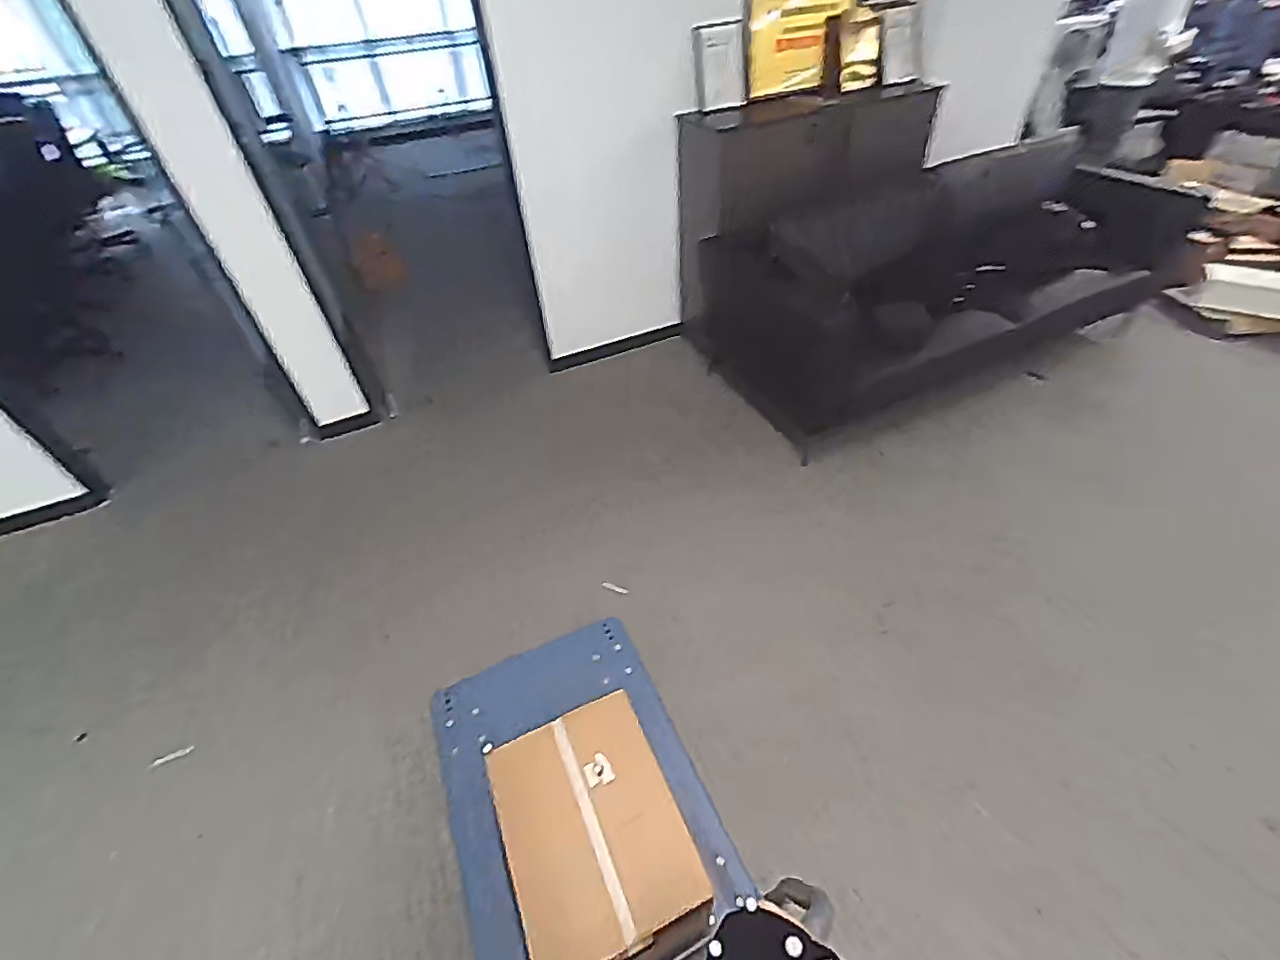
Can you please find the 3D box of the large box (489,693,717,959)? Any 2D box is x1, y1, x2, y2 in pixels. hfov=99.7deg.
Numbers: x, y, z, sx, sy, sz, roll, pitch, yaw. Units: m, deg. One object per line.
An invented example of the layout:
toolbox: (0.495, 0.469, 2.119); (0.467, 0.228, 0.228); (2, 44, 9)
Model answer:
large box: (-0.075, 0.740, 1.106); (0.320, 0.320, 0.408); (-20, 44, -16)
